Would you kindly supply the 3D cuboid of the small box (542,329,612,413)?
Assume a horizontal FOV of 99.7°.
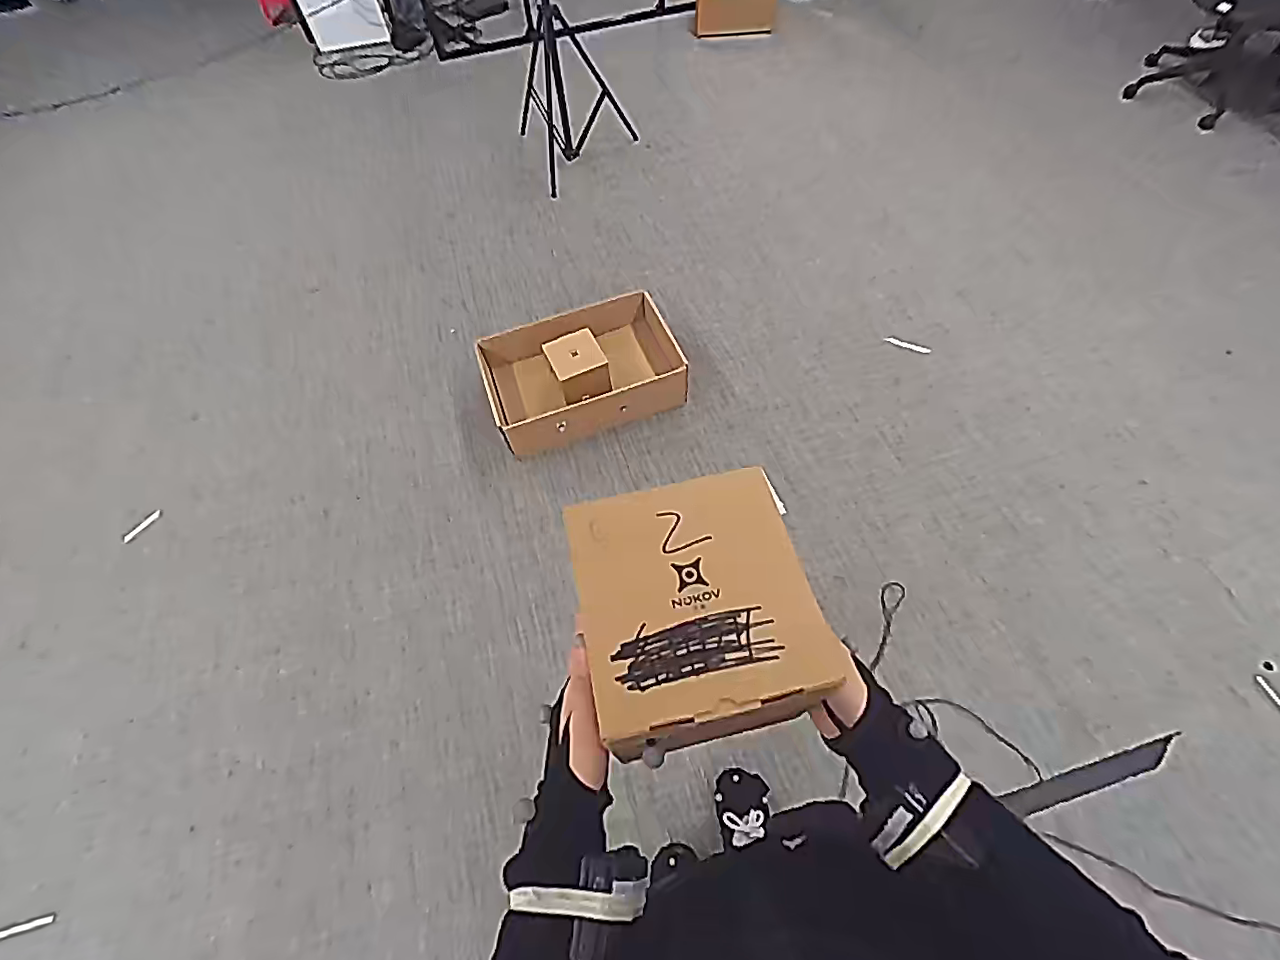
[{"bbox_3d":[-0.204,-0.354,1.776,0.168,0.176,0.179,-25,62,-10],"label":"small box"}]
